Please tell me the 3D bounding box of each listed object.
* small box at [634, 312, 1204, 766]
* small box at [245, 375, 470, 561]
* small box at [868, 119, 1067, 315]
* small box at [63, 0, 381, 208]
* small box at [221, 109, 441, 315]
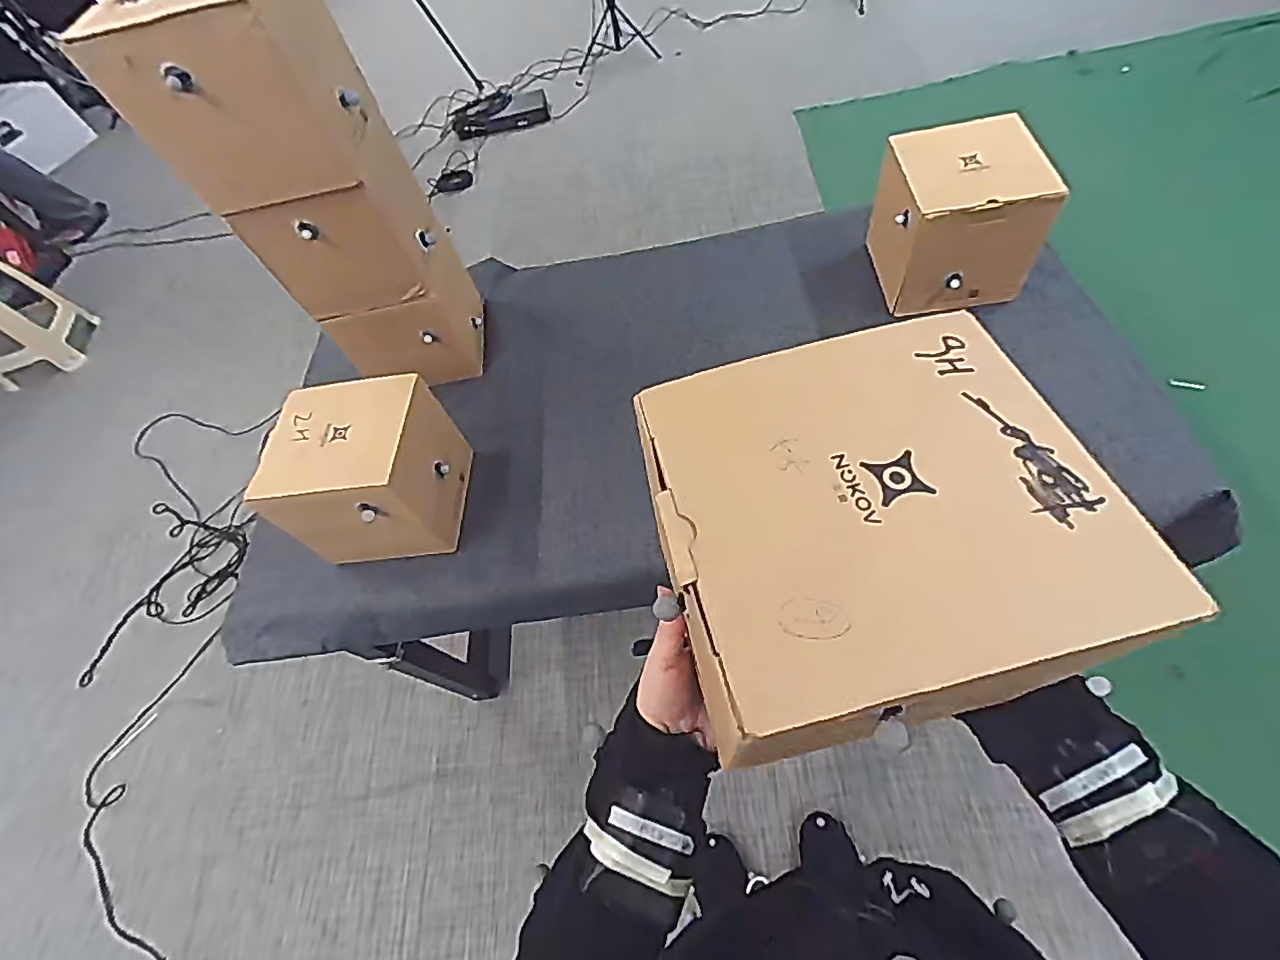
[{"bbox_3d":[0.107,0.044,0.296,0.179,0.176,0.168,-15,58,-1],"label":"small box"},{"bbox_3d":[-0.338,-0.008,0.691,0.179,0.176,0.168,-6,56,7],"label":"small box"},{"bbox_3d":[0.433,-0.360,0.755,0.168,0.176,0.179,-6,60,8],"label":"small box"},{"bbox_3d":[-0.408,-0.415,0.566,0.179,0.176,0.168,-9,60,4],"label":"small box"},{"bbox_3d":[-0.387,-0.341,0.712,0.179,0.176,0.168,-11,61,3],"label":"small box"}]
